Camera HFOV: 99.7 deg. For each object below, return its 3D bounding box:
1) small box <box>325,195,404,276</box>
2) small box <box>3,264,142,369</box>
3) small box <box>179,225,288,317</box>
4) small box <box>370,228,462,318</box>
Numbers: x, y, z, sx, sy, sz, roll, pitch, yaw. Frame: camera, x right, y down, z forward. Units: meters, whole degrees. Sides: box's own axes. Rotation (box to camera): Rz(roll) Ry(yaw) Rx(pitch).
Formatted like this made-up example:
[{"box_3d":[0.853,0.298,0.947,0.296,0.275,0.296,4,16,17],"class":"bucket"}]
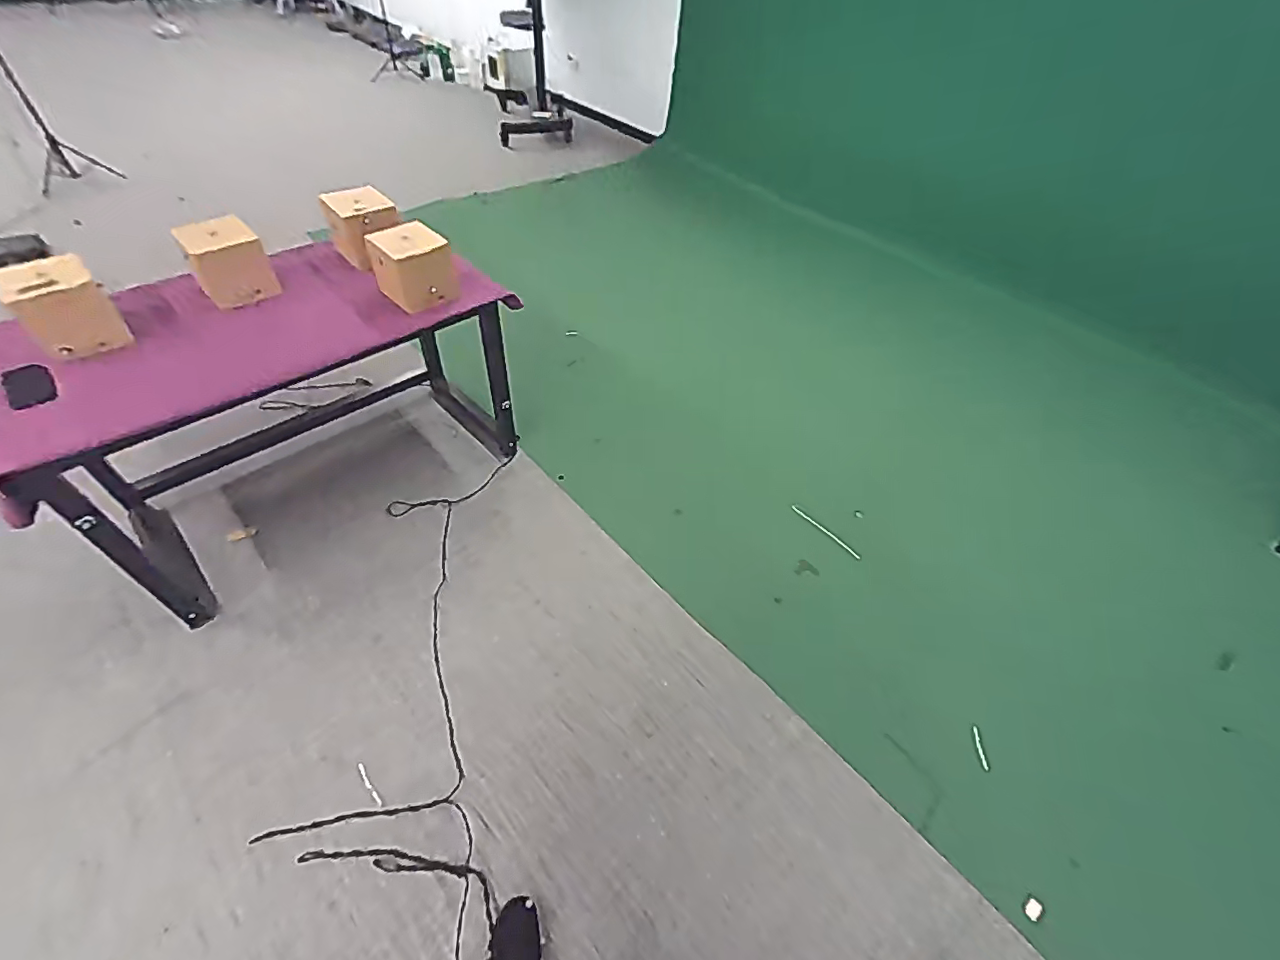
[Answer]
[{"box_3d":[-0.858,-0.775,1.715,0.168,0.176,0.179,-33,58,-28],"class":"small box"},{"box_3d":[-1.382,-0.396,1.328,0.168,0.176,0.179,-34,59,-30],"class":"small box"},{"box_3d":[-1.139,-0.587,1.523,0.168,0.176,0.179,-35,60,-29],"class":"small box"},{"box_3d":[-0.646,-0.600,1.572,0.168,0.176,0.179,-36,60,-29],"class":"small box"}]
